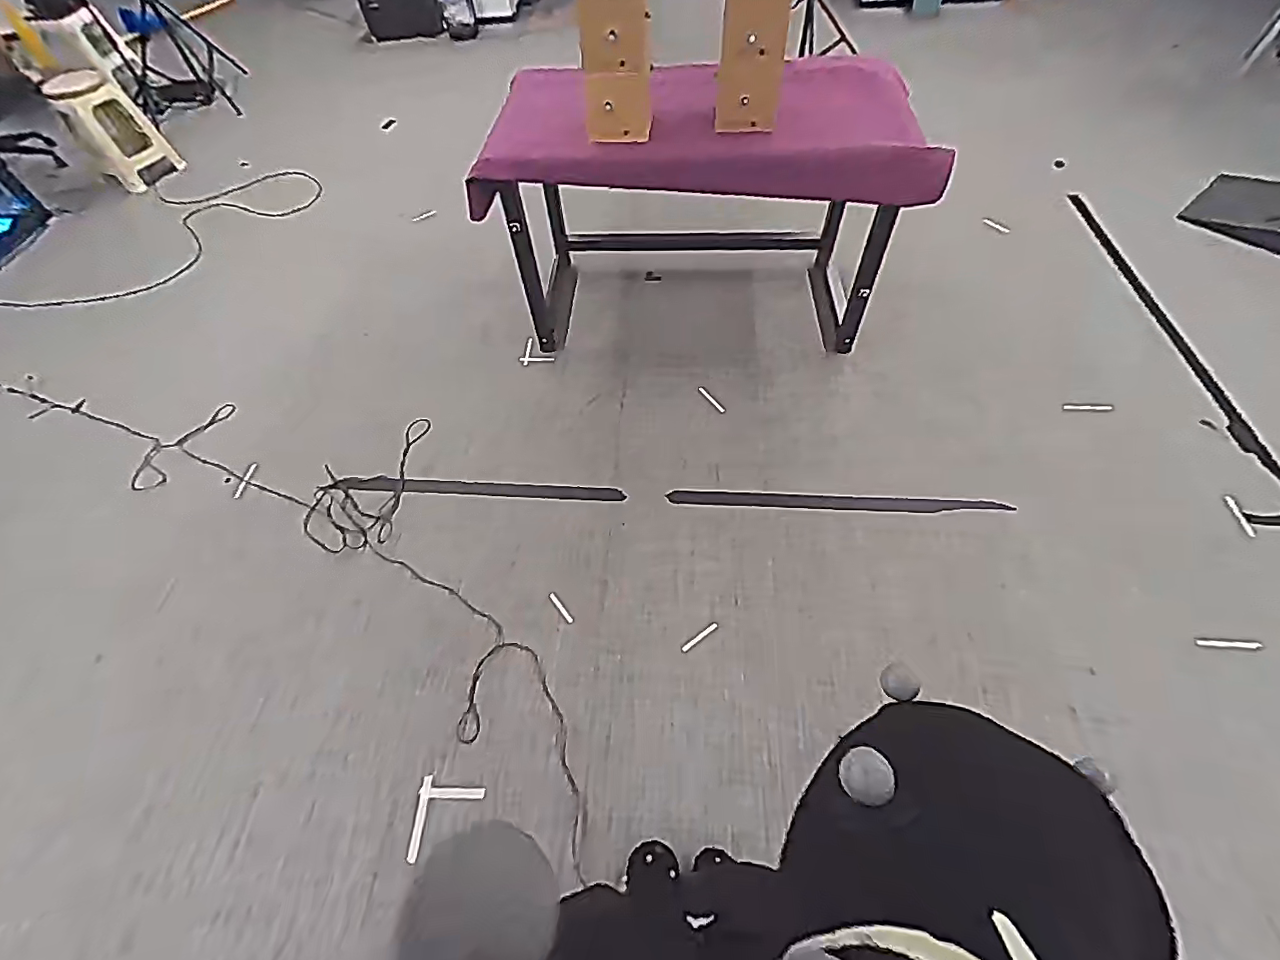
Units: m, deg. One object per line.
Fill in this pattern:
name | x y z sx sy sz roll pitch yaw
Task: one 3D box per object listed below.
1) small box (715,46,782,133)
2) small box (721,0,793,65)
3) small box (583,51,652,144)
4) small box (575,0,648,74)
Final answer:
small box | 0.299 -1.092 1.505 0.168 0.176 0.179 4 56 6
small box | 0.294 -1.186 1.370 0.168 0.176 0.179 3 57 6
small box | -0.056 -1.061 1.506 0.168 0.176 0.179 2 55 5
small box | -0.065 -1.159 1.375 0.168 0.176 0.179 0 56 3
